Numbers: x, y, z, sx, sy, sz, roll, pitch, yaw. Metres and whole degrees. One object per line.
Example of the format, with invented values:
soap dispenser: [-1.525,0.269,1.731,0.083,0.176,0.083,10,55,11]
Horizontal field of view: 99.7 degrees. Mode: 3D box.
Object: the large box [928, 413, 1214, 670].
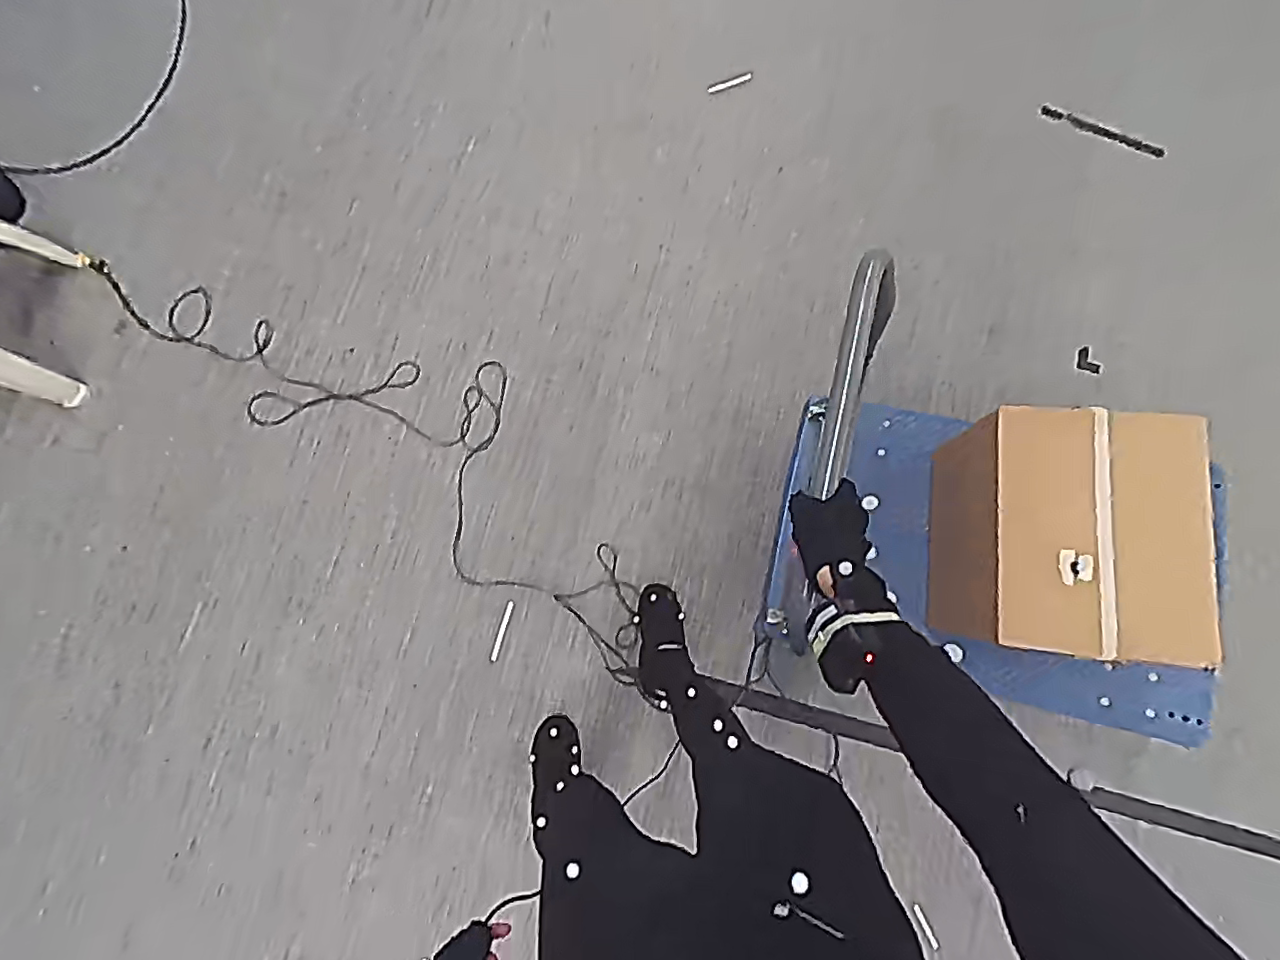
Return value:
large box: [0.764,0.112,1.024,0.320,0.320,0.408,4,80,10]
